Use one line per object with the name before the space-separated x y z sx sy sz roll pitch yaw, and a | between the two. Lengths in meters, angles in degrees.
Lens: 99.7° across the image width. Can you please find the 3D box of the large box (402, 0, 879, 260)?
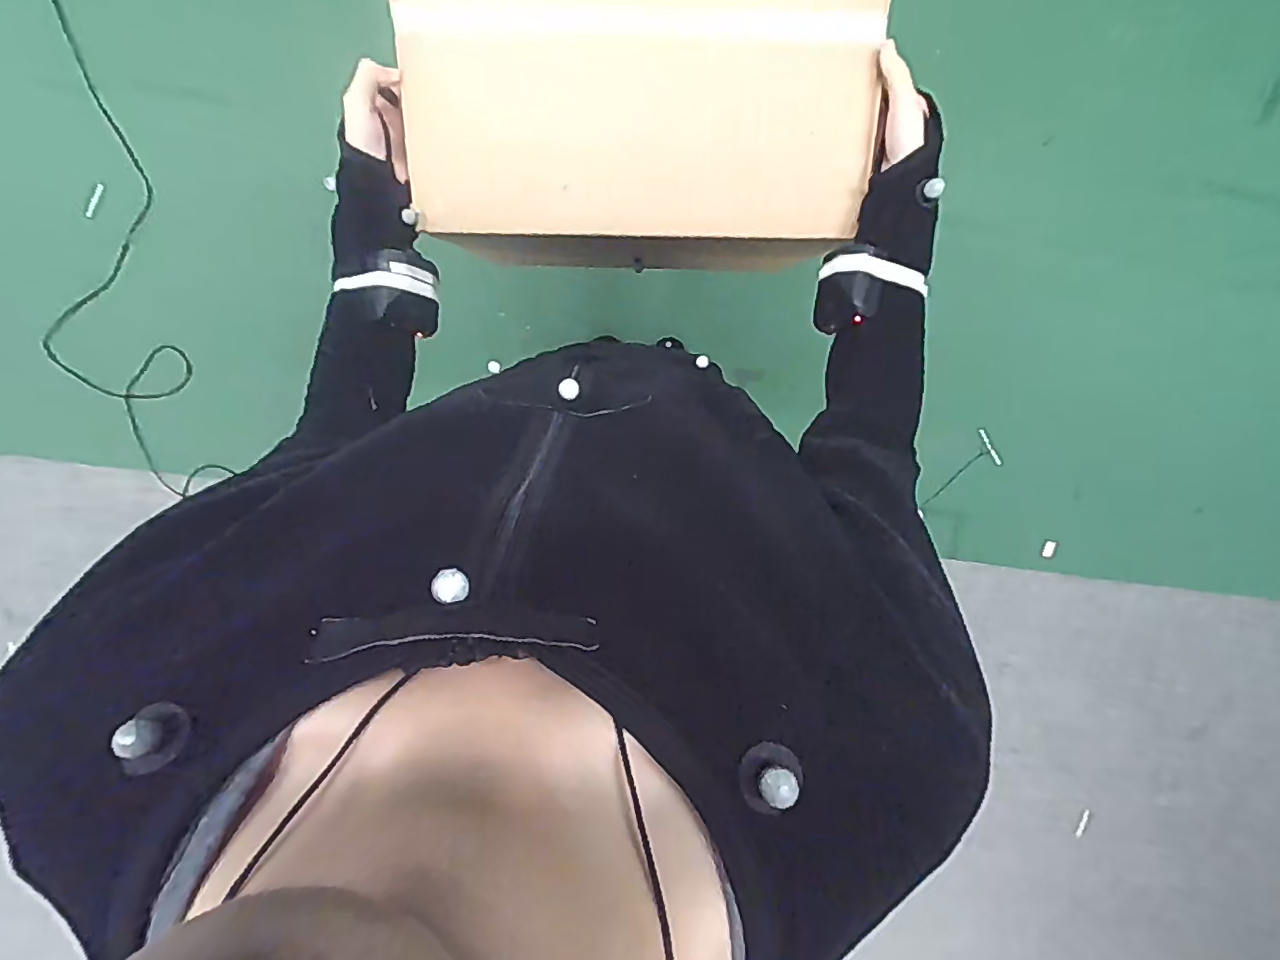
large box | 0.002 -0.419 0.596 0.408 0.320 0.320 0 106 0
